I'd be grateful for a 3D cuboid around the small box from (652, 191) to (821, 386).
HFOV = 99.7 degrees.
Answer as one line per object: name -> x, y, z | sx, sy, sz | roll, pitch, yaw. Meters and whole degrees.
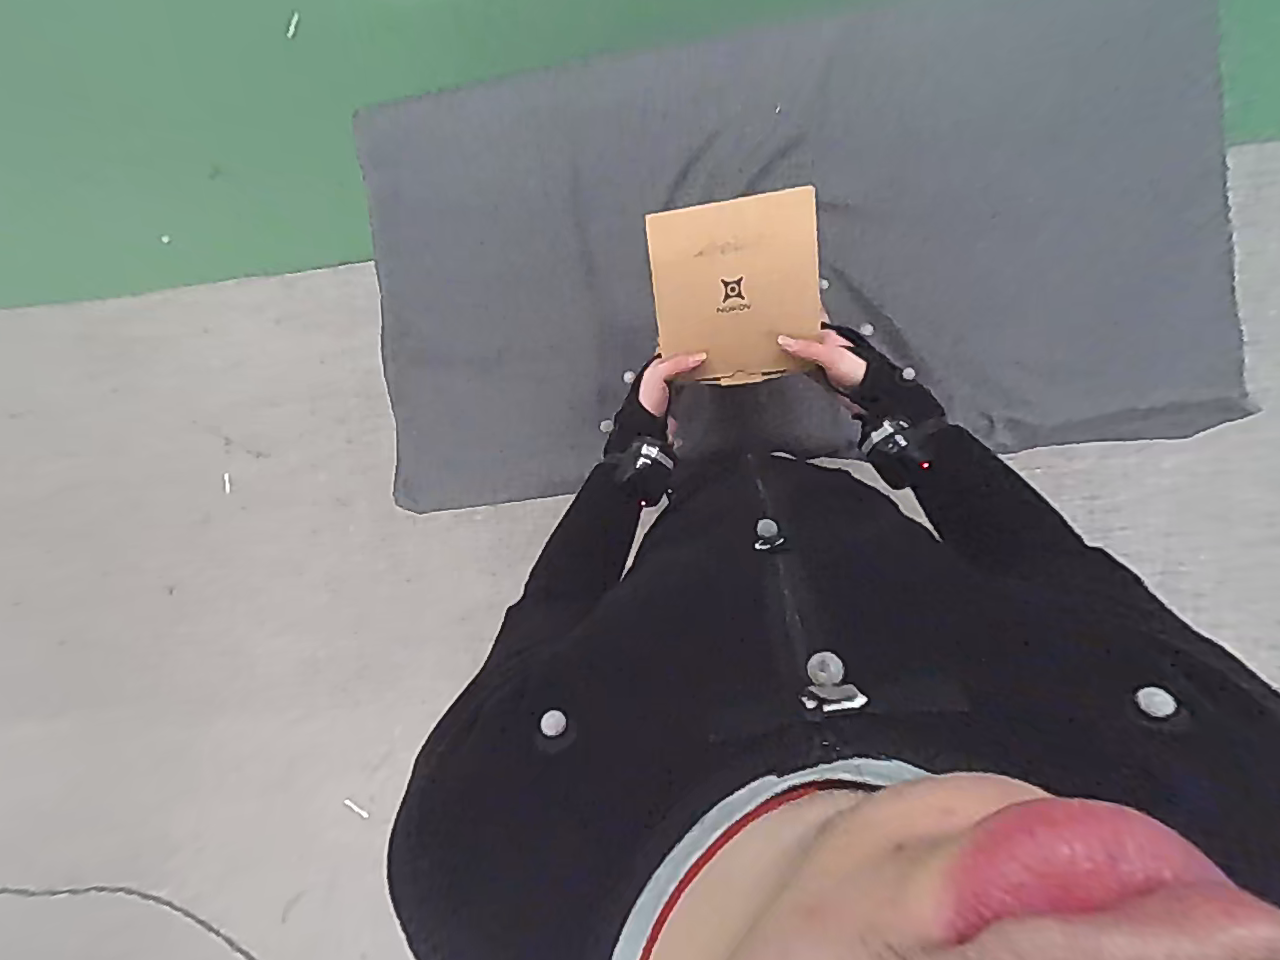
small box -> 0.115, -0.217, 0.633 | 0.168, 0.176, 0.179 | -5, 107, 11
